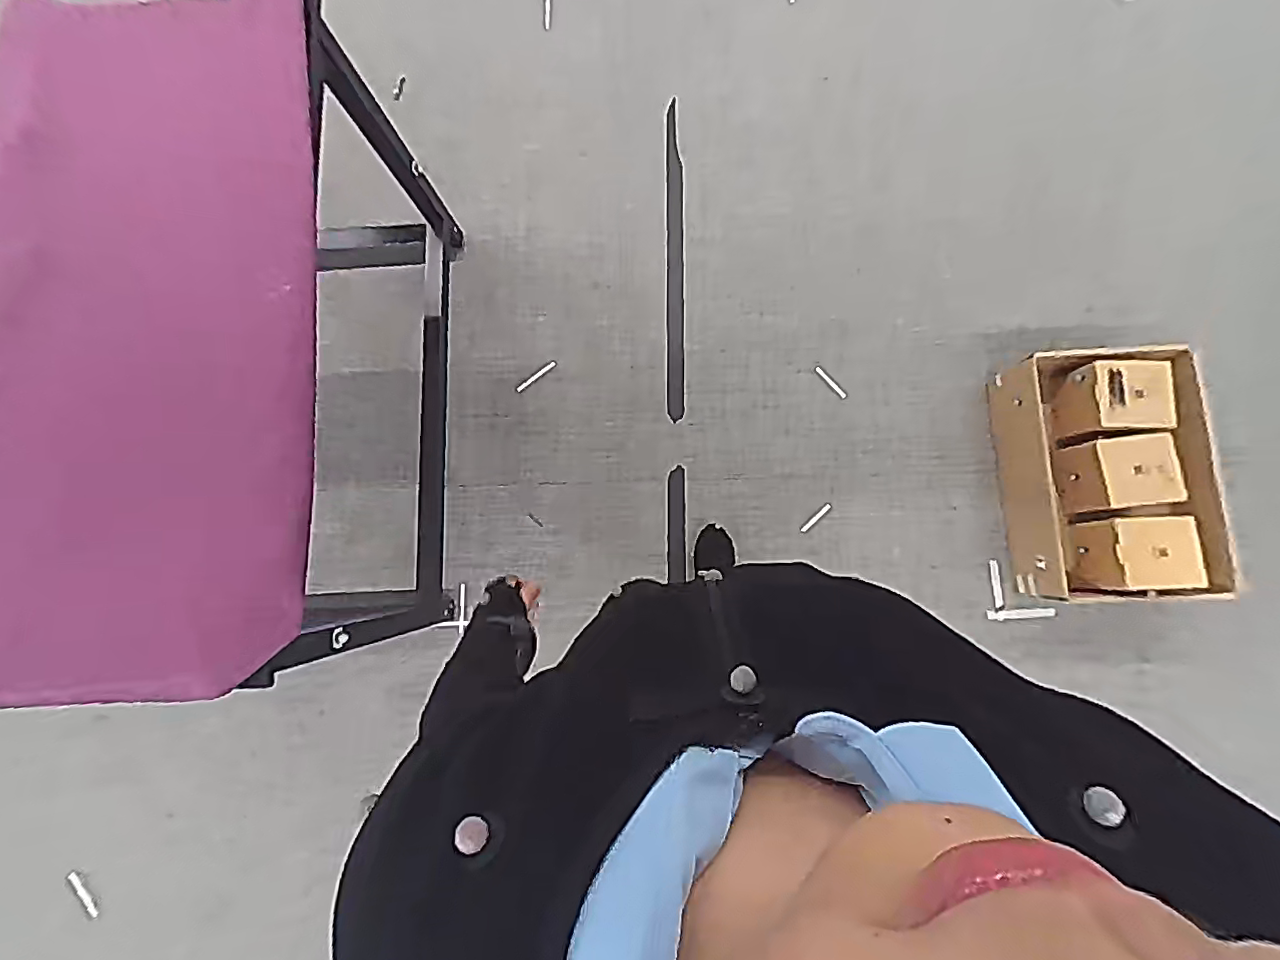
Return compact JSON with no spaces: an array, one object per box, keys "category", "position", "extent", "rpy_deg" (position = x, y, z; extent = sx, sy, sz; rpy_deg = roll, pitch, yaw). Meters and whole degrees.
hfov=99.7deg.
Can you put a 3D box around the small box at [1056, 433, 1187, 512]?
[{"category":"small box","position":[1.186,-0.014,1.352],"extent":[0.179,0.176,0.168],"rpy_deg":[-6,83,2]}]

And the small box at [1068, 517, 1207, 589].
[{"category":"small box","position":[1.205,0.180,1.322],"extent":[0.179,0.176,0.168],"rpy_deg":[-3,79,4]}]
